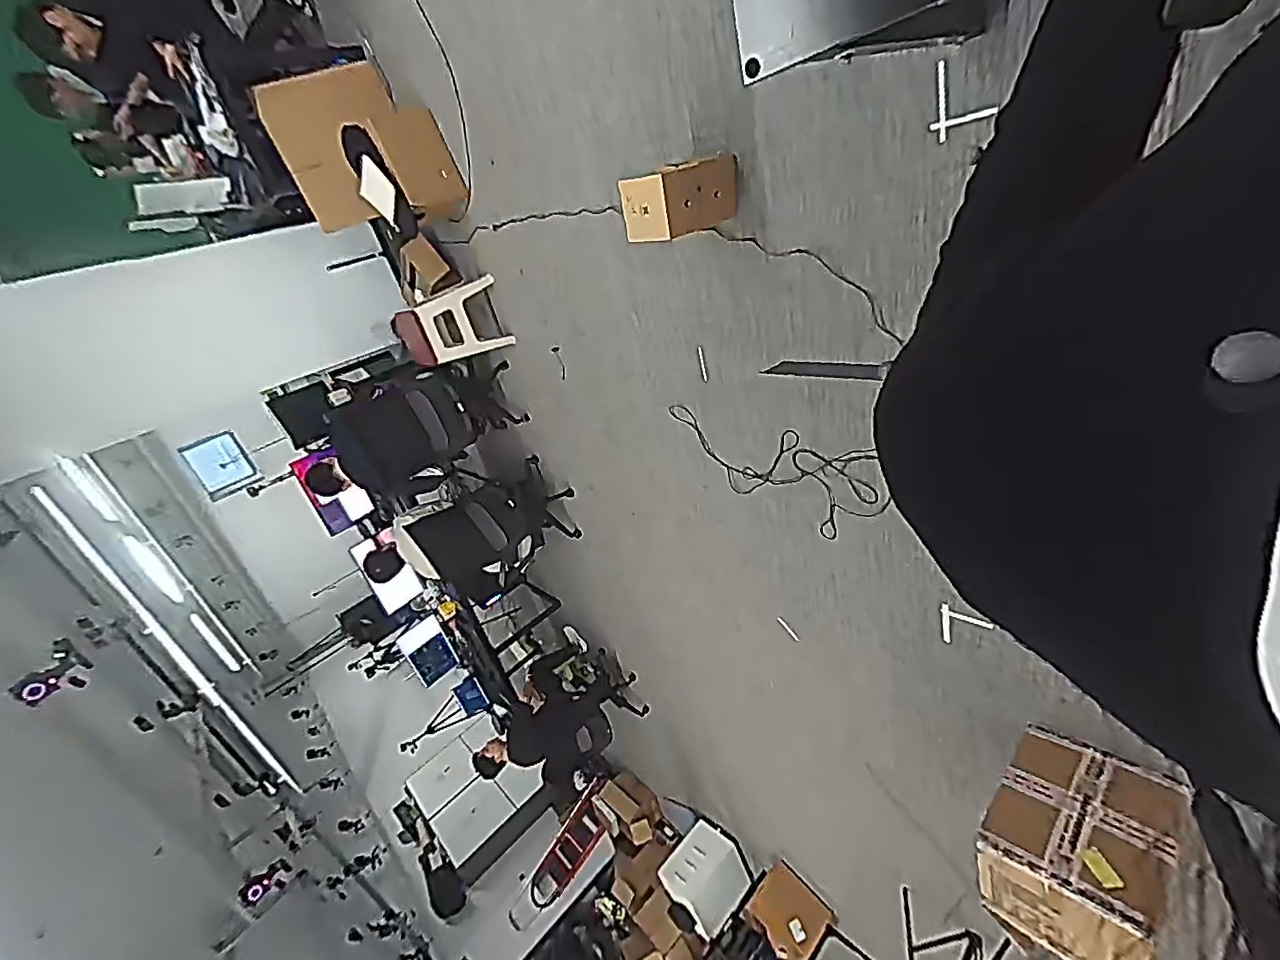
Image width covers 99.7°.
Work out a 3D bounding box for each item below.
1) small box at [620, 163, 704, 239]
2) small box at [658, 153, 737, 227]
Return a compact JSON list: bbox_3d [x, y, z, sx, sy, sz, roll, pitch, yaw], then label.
[{"bbox_3d":[0.072,-0.801,1.557,0.179,0.176,0.168,21,133,43],"label":"small box"},{"bbox_3d":[0.179,-0.886,1.649,0.168,0.176,0.179,24,137,41],"label":"small box"}]
